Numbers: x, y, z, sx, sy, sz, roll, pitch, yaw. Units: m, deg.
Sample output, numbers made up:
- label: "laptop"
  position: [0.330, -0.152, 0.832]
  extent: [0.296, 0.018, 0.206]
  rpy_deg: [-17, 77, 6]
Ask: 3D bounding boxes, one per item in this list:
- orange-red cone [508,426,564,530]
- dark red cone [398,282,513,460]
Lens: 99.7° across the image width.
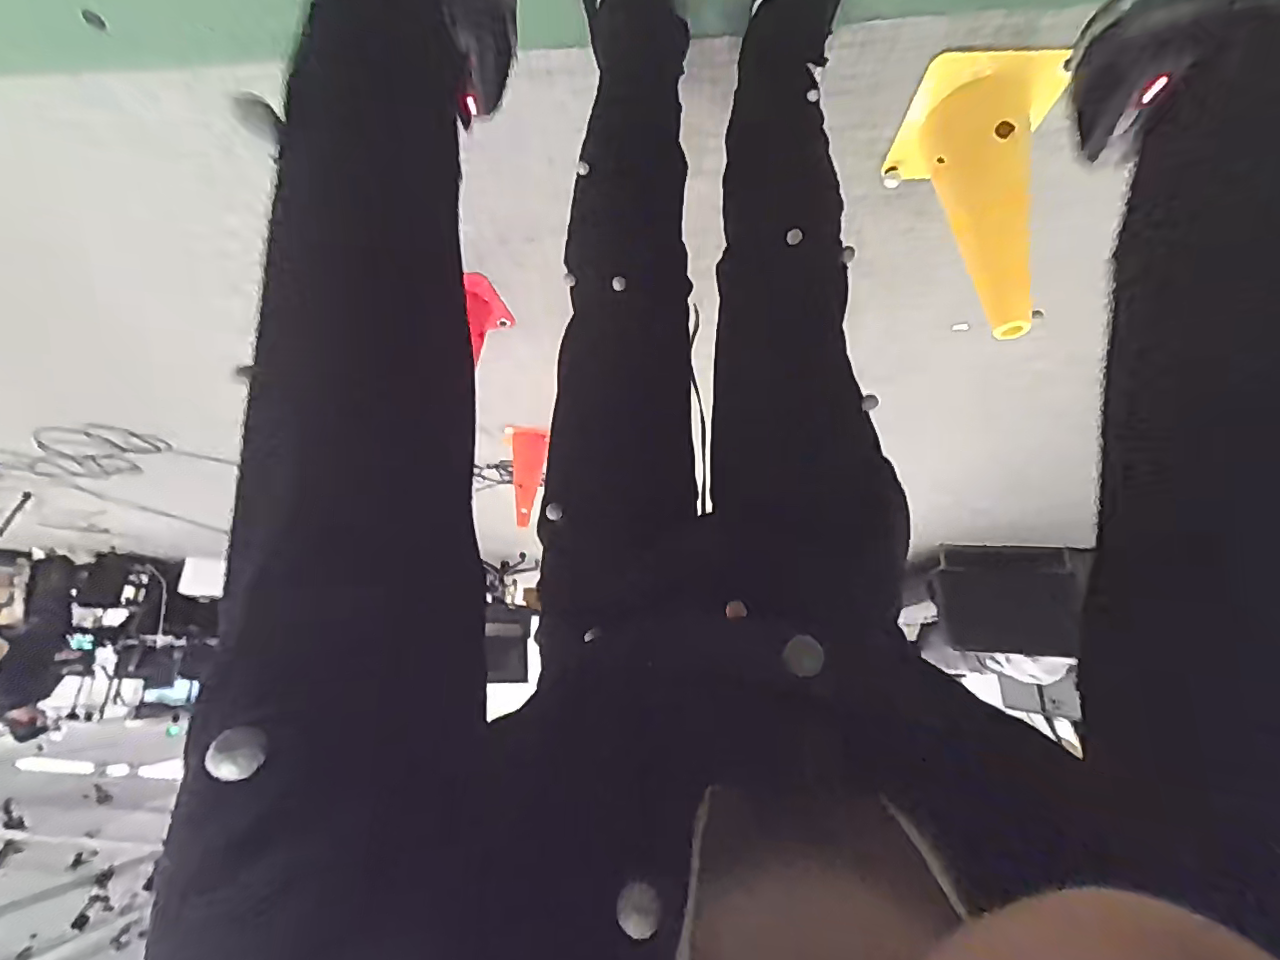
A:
- label: "orange-red cone"
  position: [-0.405, 0.007, 1.985]
  extent: [0.199, 0.360, 0.198]
  rpy_deg: [8, 160, -13]
- label: "dark red cone"
  position: [-0.425, -0.229, 1.183]
  extent: [0.202, 0.394, 0.201]
  rpy_deg: [-2, 159, 13]
